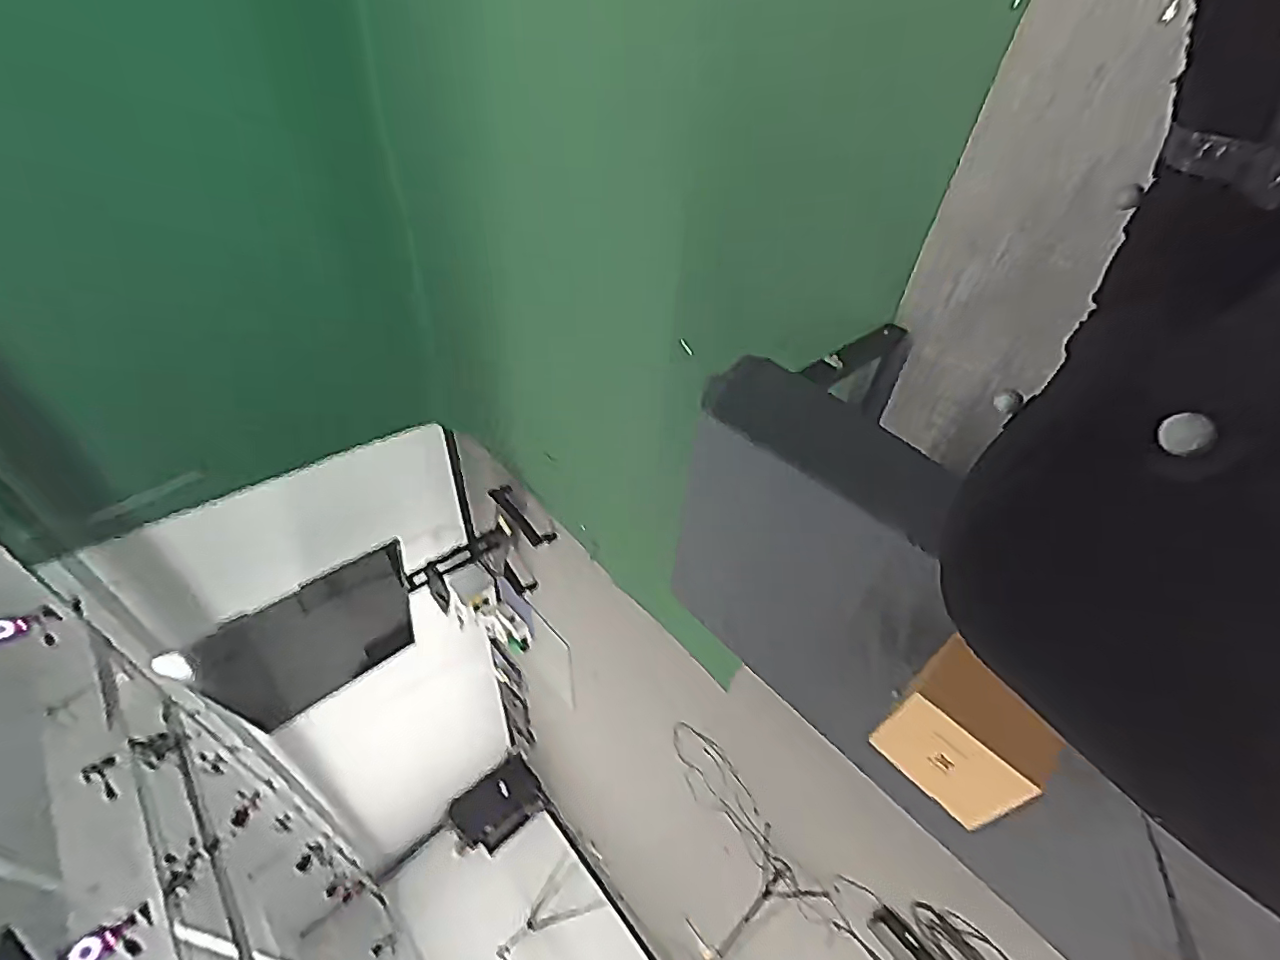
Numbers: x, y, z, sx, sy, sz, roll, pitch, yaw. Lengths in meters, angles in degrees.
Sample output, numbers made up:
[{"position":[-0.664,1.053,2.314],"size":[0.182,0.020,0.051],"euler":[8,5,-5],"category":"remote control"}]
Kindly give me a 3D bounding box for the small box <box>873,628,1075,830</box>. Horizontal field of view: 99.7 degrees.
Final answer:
[{"position":[0.483,0.355,0.787],"size":[0.168,0.176,0.179],"euler":[38,141,30],"category":"small box"}]
